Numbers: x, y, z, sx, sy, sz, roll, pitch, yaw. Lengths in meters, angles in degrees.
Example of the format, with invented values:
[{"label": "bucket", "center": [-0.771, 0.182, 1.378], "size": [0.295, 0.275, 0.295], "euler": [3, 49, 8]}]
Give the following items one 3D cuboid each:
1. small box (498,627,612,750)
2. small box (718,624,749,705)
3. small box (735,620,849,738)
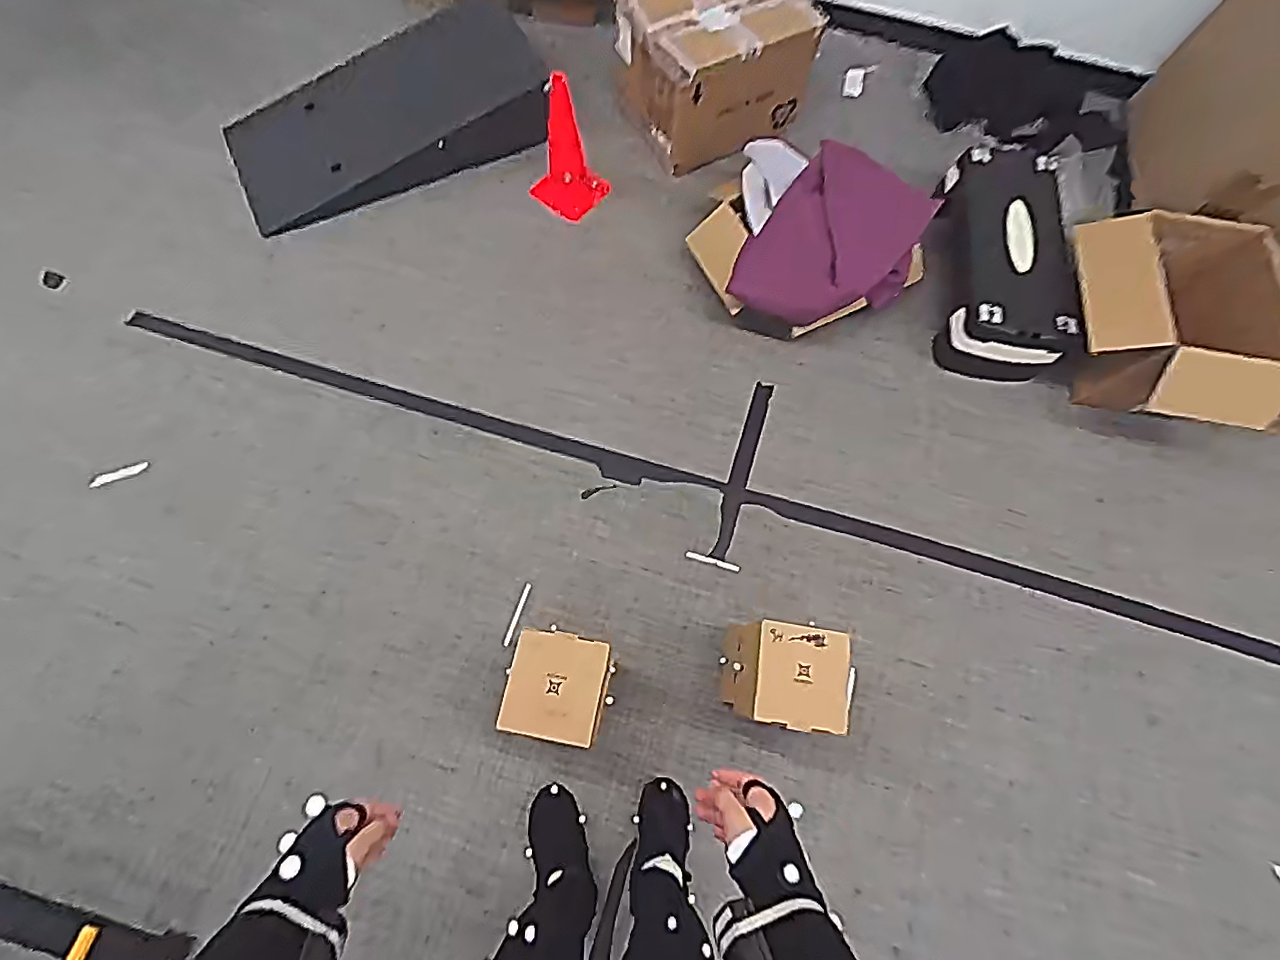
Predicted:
[{"label": "small box", "center": [-0.149, 0.386, 1.018], "size": [0.168, 0.176, 0.179], "euler": [10, 72, 3]}, {"label": "small box", "center": [0.282, 0.423, 1.196], "size": [0.179, 0.176, 0.168], "euler": [11, 71, 1]}, {"label": "small box", "center": [0.284, 0.377, 1.039], "size": [0.168, 0.176, 0.179], "euler": [10, 72, 1]}]
